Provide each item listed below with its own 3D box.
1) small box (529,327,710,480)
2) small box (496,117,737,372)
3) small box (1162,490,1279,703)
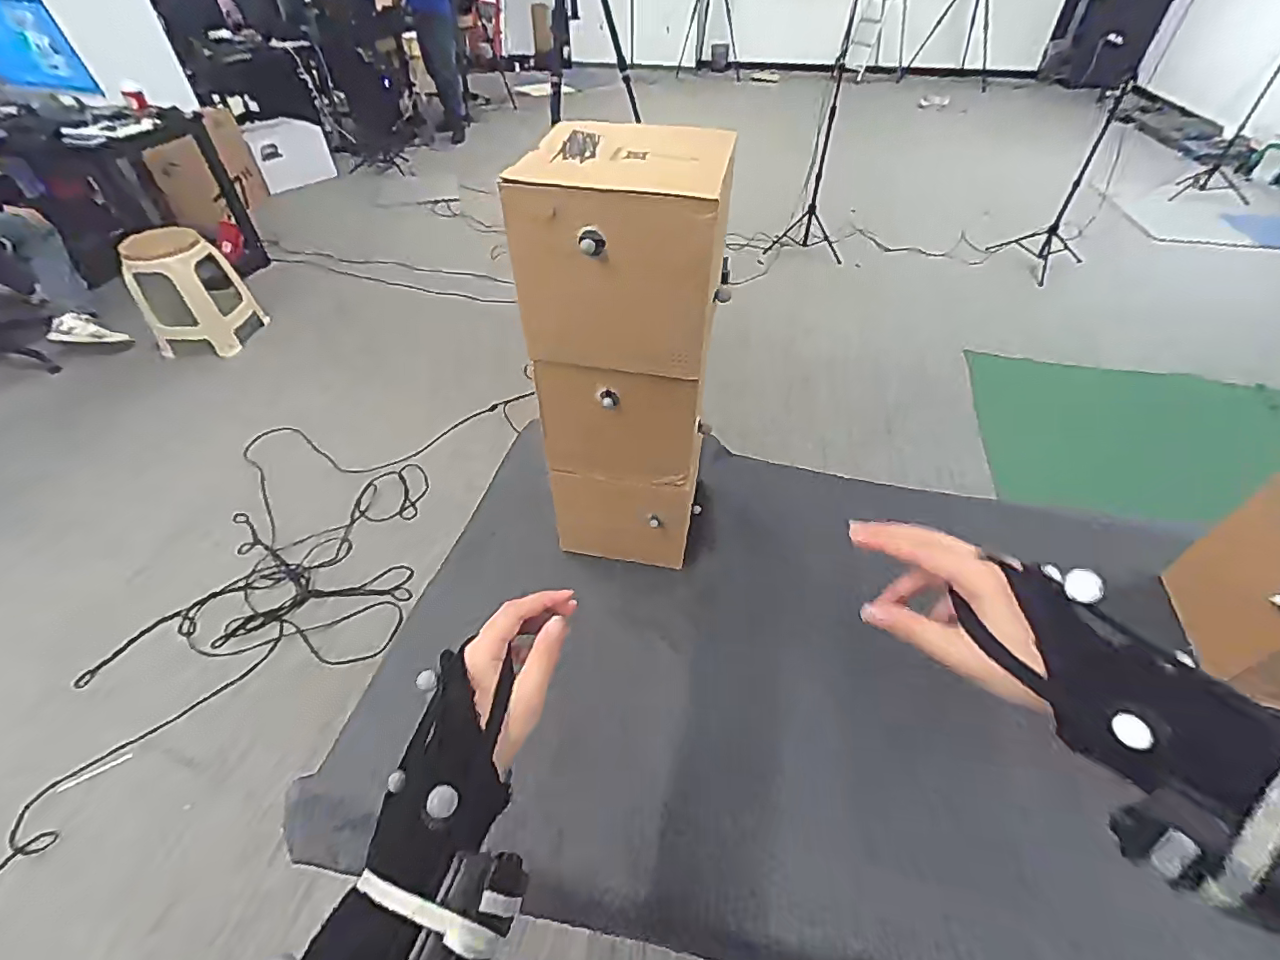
[{"bbox_3d":[-0.014,-0.118,0.643,0.179,0.176,0.168,8,49,6],"label":"small box"},{"bbox_3d":[-0.013,-0.223,0.517,0.179,0.176,0.168,10,49,7],"label":"small box"},{"bbox_3d":[0.765,0.143,0.618,0.168,0.176,0.179,12,48,11],"label":"small box"}]
